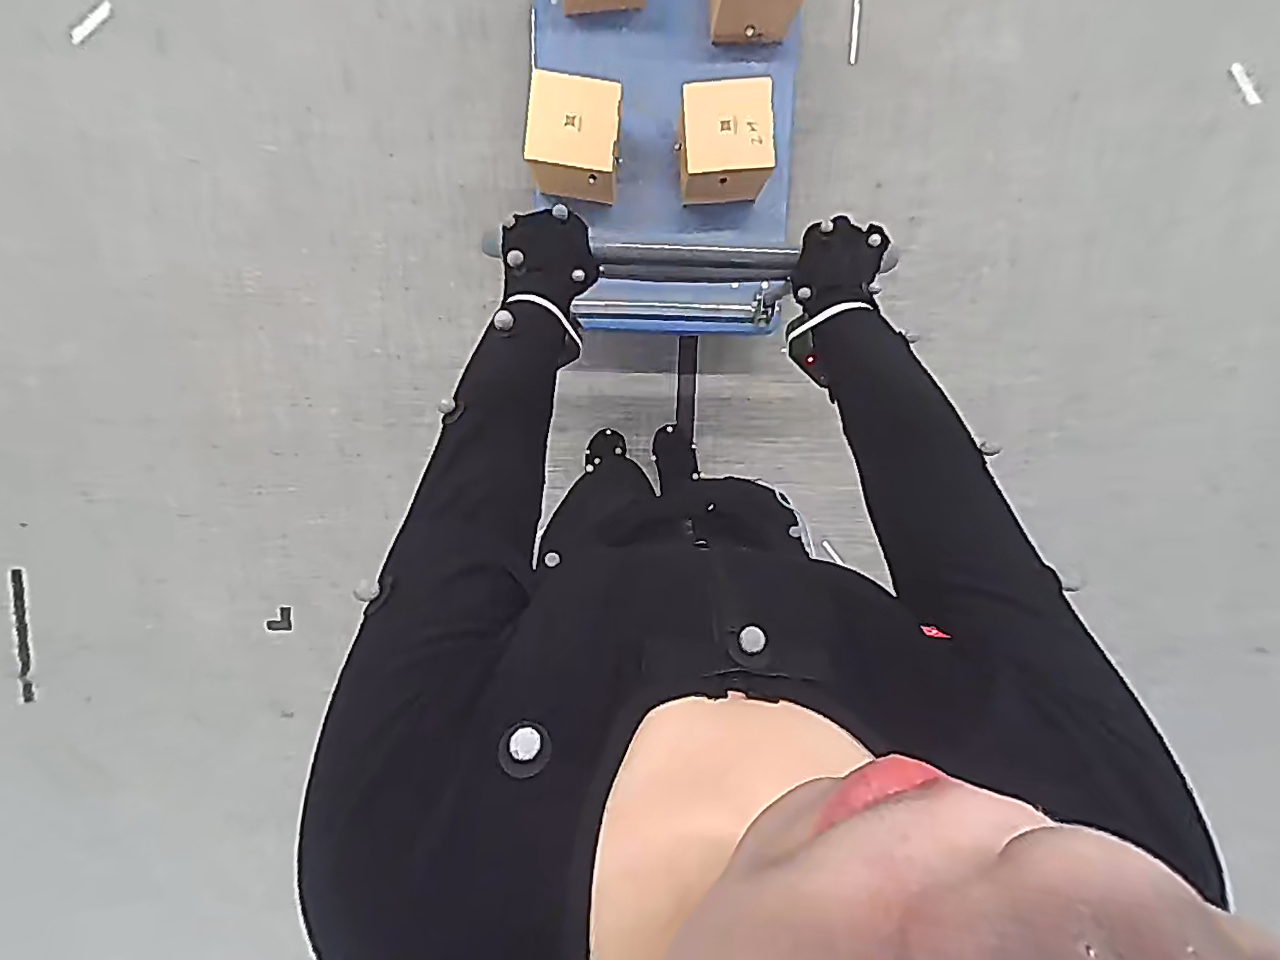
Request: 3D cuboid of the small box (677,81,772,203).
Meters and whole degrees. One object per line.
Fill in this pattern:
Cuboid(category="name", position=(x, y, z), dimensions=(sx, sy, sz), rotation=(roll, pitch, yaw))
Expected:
Cuboid(category="small box", position=(0.170, -0.701, 1.140), dimensions=(0.179, 0.176, 0.168), rotation=(-4, 98, 0))

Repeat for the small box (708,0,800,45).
Cuboid(category="small box", position=(0.231, -1.033, 1.096), dimensions=(0.168, 0.176, 0.179), rotation=(-2, 99, -1))

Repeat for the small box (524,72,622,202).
Cuboid(category="small box", position=(-0.134, -0.707, 1.135), dimensions=(0.179, 0.176, 0.168), rotation=(7, 97, -3))
